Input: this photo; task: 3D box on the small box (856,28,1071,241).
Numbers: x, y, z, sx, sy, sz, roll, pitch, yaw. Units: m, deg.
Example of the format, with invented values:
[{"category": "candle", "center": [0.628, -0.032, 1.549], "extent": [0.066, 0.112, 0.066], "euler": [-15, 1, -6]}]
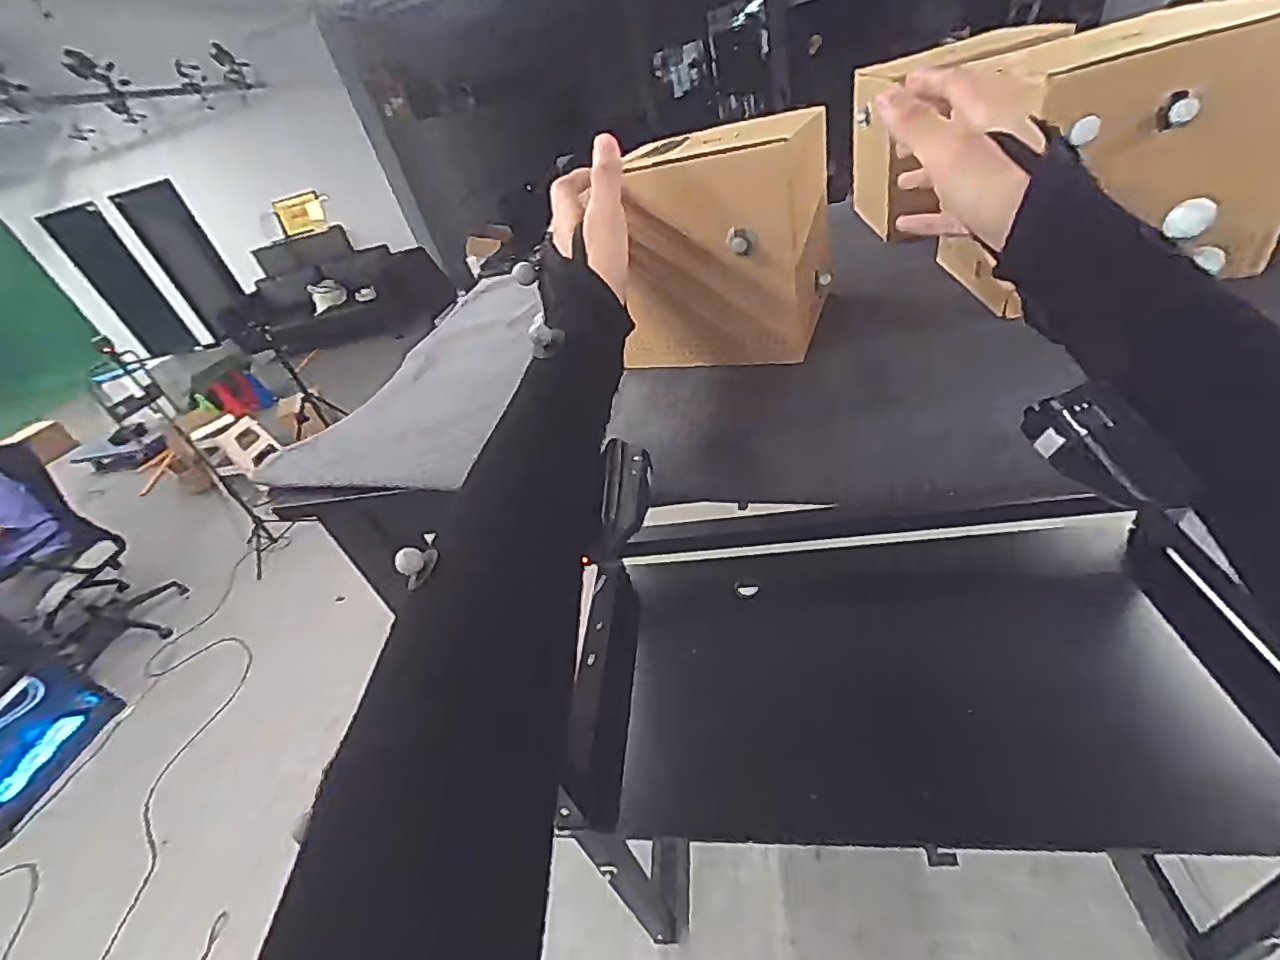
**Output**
[{"category": "small box", "center": [0.356, -0.401, 0.640], "extent": [0.168, 0.176, 0.179], "euler": [-8, 37, 13]}]

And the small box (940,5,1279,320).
[{"category": "small box", "center": [0.368, -0.251, 0.437], "extent": [0.179, 0.176, 0.168], "euler": [-8, 37, 13]}]
